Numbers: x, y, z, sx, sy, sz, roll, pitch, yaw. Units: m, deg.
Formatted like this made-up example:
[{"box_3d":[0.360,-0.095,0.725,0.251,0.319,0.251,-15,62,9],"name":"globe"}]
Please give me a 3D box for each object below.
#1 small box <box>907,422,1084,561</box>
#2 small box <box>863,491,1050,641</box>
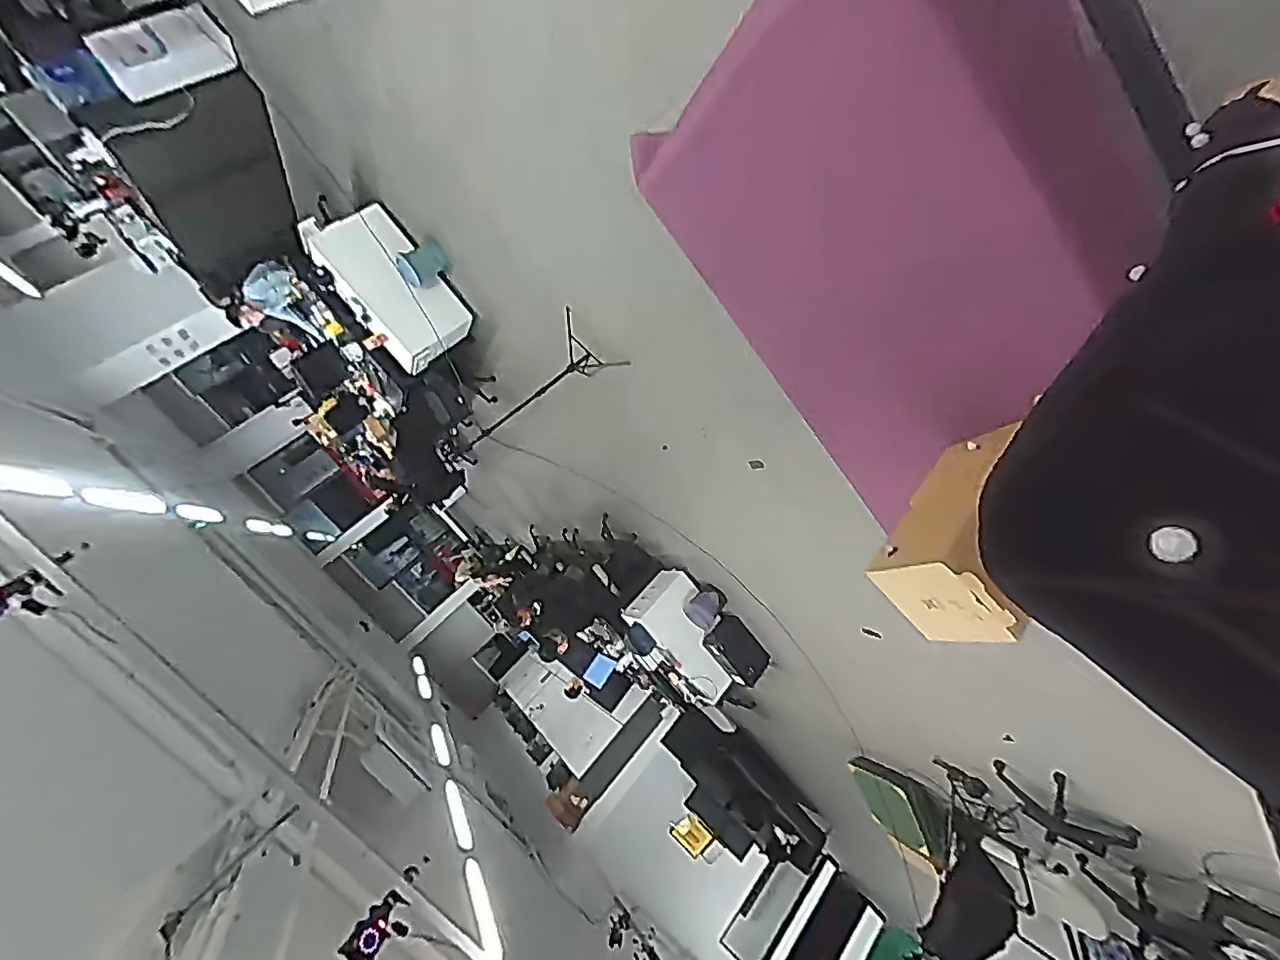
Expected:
[{"box_3d":[0.625,0.031,0.951,0.179,0.176,0.168,47,156,-2],"name":"small box"},{"box_3d":[0.519,0.143,0.893,0.168,0.176,0.179,46,157,-1],"name":"small box"}]
